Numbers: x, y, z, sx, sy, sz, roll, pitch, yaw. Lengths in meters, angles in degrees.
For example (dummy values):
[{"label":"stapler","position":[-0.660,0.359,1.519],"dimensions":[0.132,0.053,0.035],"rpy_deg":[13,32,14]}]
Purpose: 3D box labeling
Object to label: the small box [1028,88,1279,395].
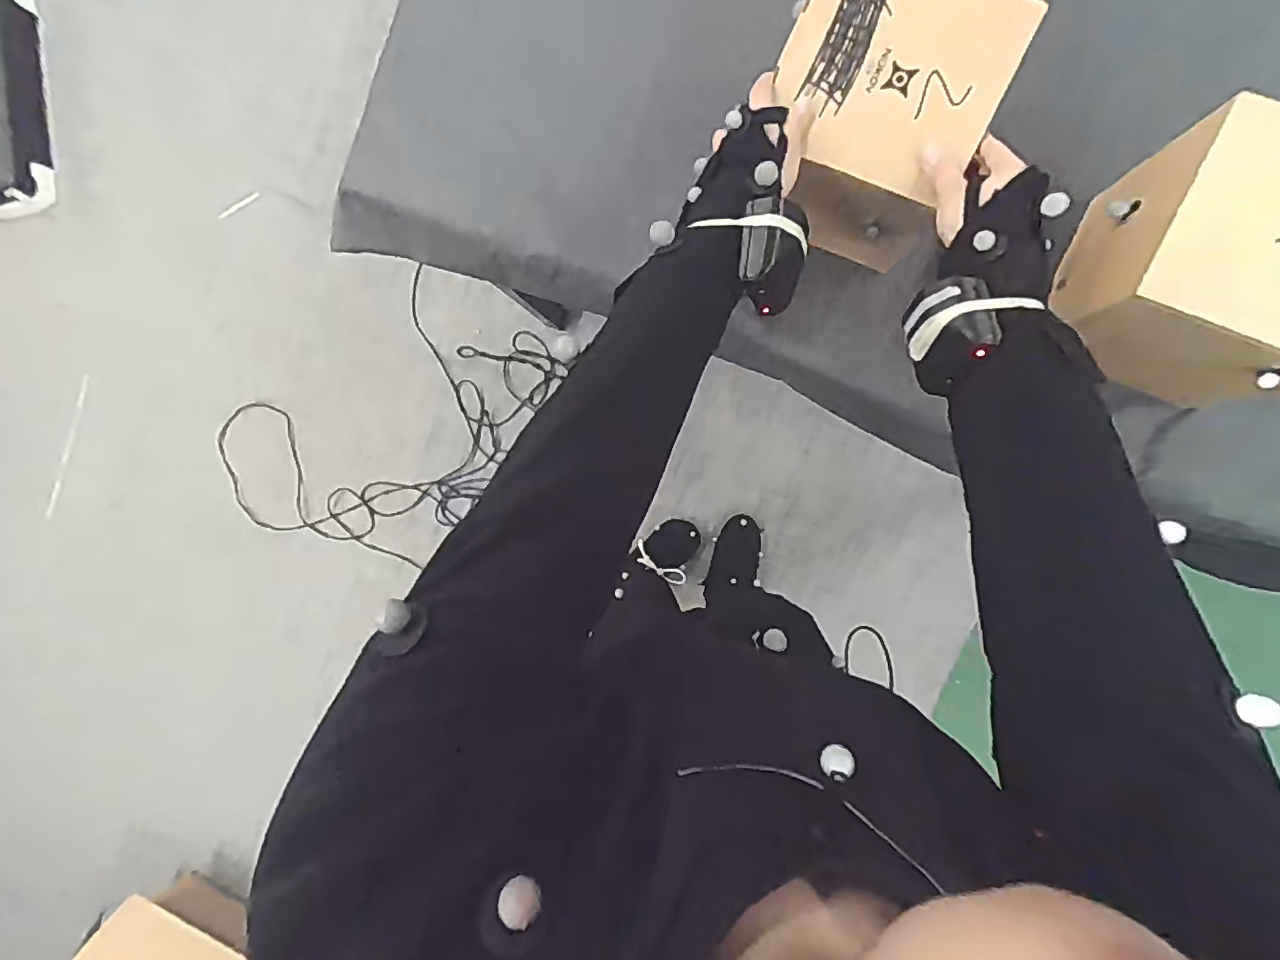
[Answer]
[{"label":"small box","position":[0.499,-0.186,0.478],"dimensions":[0.179,0.176,0.168],"rpy_deg":[25,95,6]}]
